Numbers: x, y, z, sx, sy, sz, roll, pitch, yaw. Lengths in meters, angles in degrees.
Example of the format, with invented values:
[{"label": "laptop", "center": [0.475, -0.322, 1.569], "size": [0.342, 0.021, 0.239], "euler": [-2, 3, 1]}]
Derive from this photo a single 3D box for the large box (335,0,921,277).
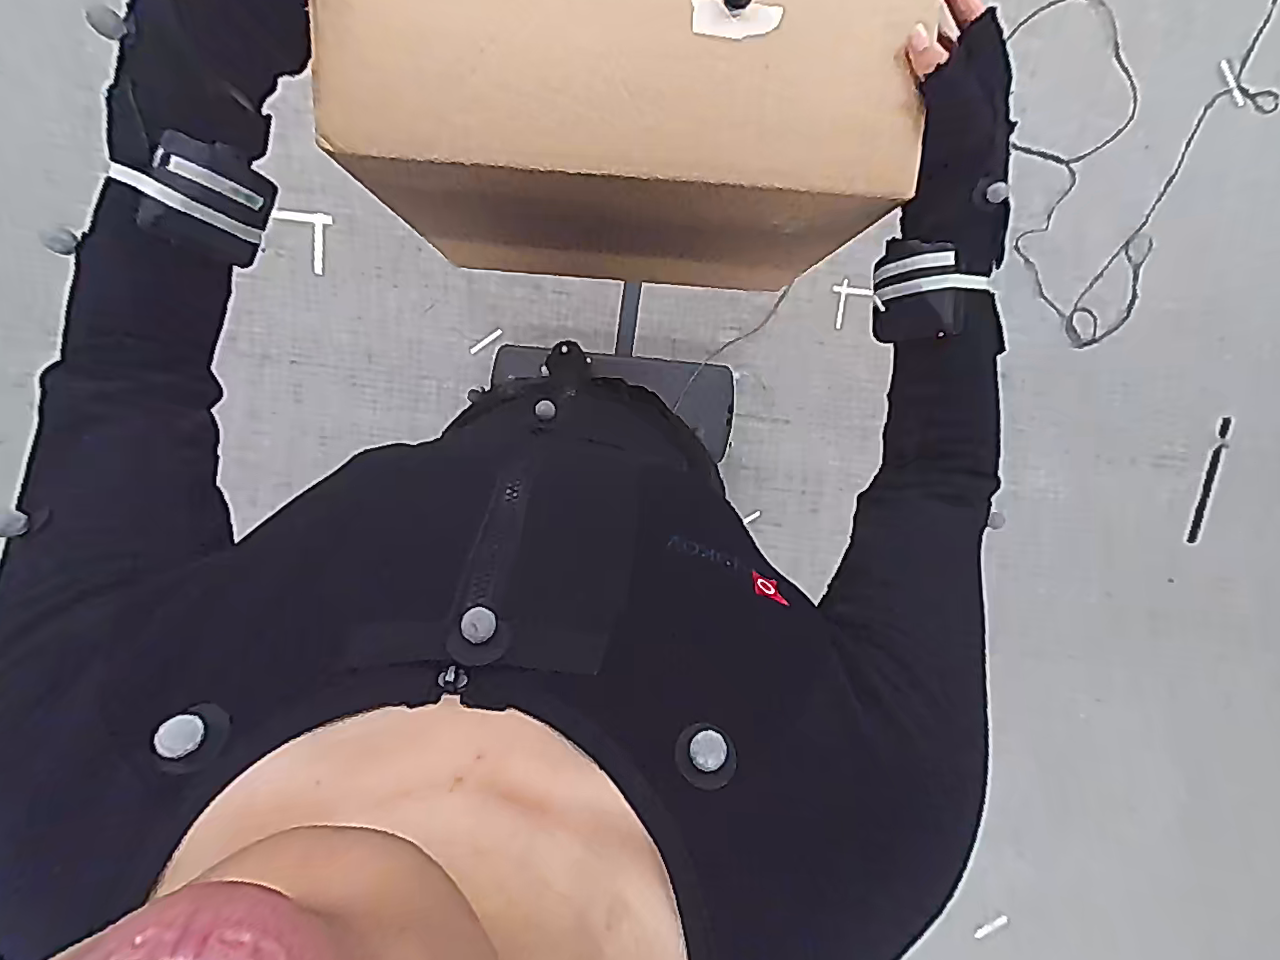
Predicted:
[{"label": "large box", "center": [-0.010, -0.392, 0.506], "size": [0.408, 0.320, 0.320], "euler": [3, 98, -4]}]
